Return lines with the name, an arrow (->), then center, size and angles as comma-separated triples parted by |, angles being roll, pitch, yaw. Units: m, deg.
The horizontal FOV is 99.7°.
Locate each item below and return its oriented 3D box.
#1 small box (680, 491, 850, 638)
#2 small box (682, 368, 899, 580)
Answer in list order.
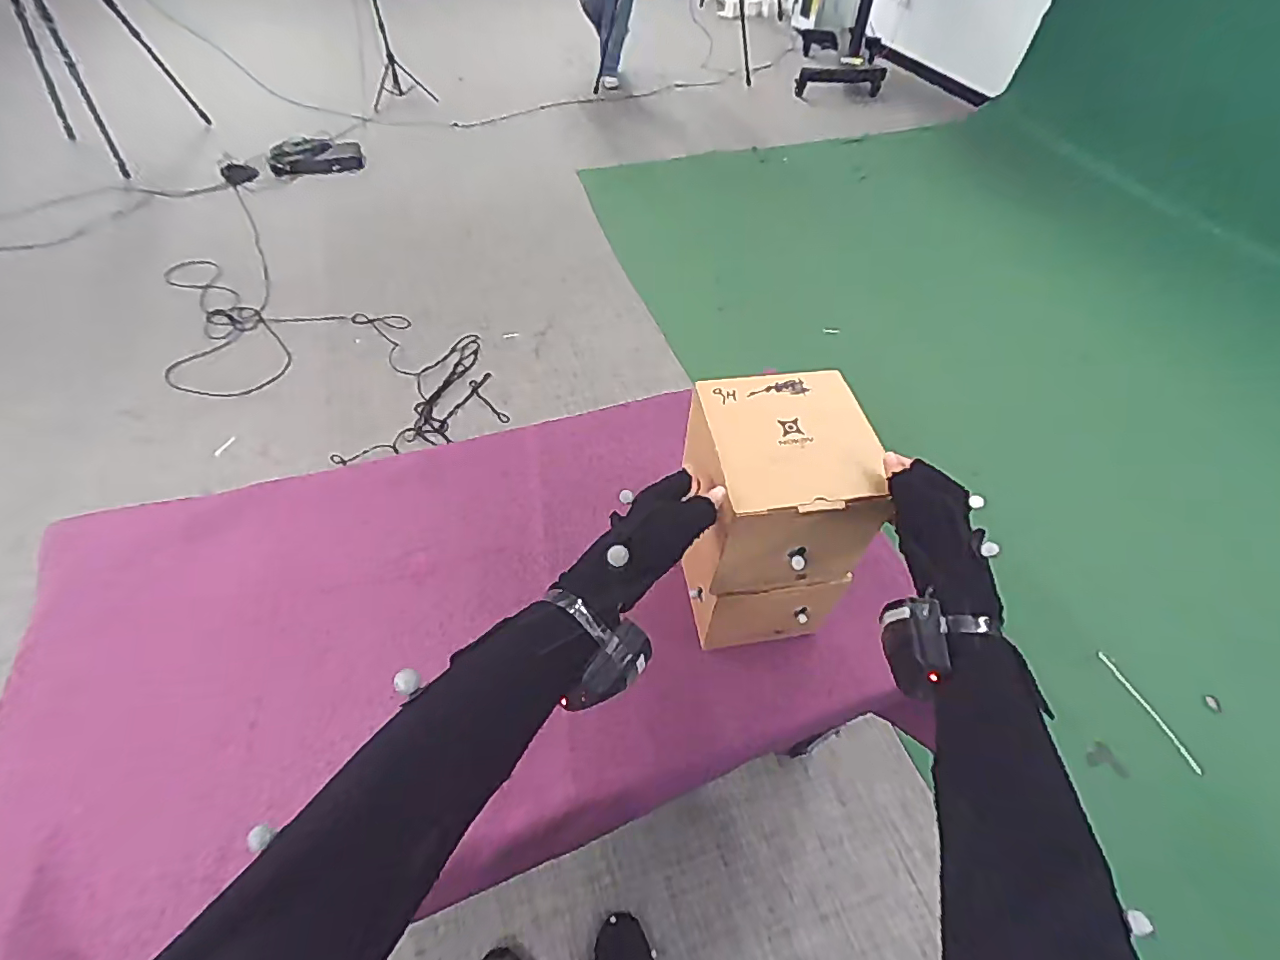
small box -> 0.153, 0.101, 0.732 | 0.168, 0.176, 0.179 | -7, 53, -6
small box -> 0.147, 0.000, 0.603 | 0.168, 0.176, 0.179 | -5, 54, -7
